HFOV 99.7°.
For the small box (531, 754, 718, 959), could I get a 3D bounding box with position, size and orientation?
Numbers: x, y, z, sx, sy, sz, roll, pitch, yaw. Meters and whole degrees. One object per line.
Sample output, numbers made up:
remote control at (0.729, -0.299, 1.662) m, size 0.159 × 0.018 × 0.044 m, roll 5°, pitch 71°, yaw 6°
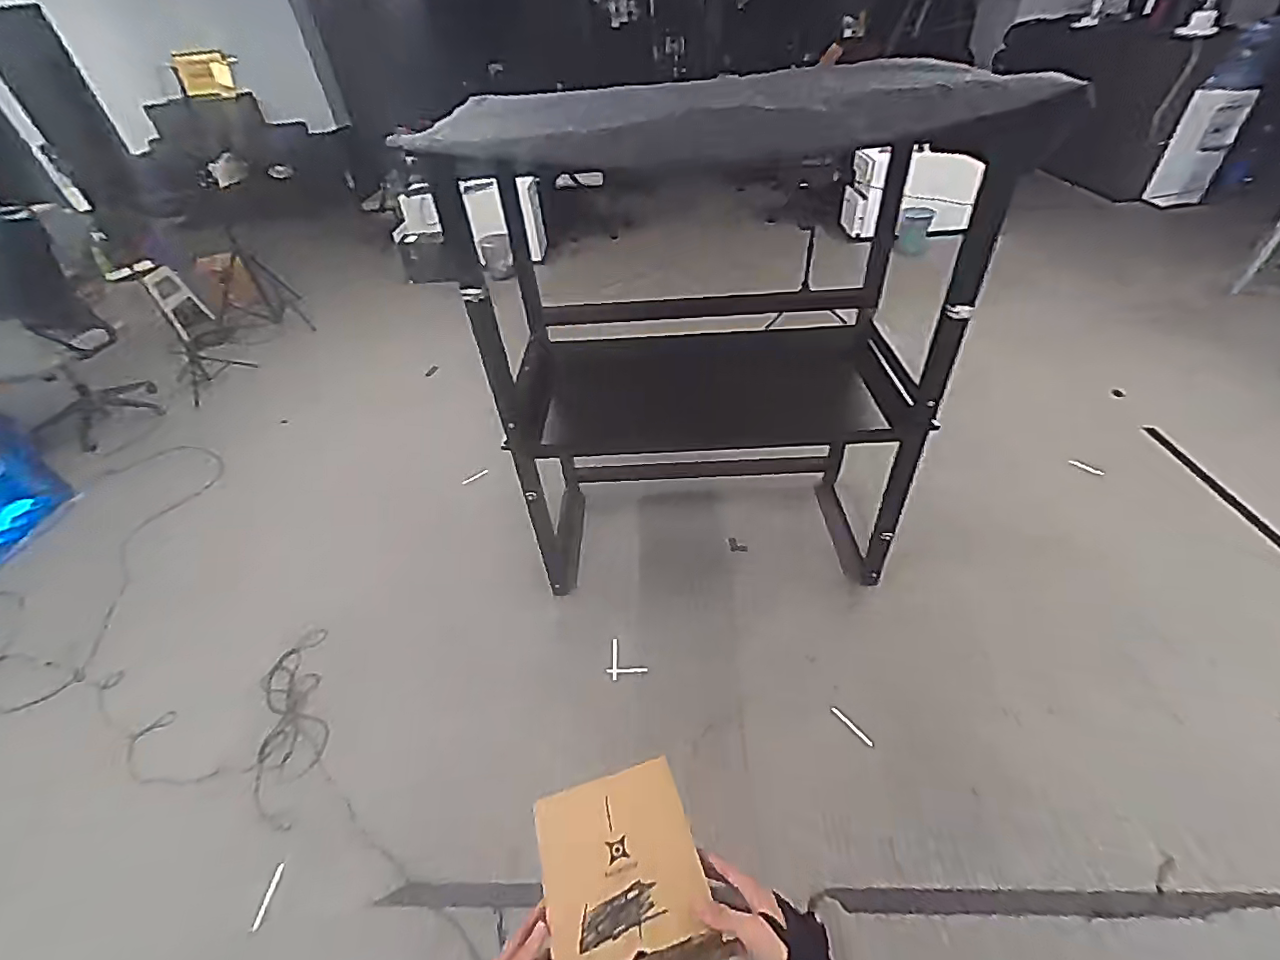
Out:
small box at (-0.016, 0.461, 0.619) m, size 0.168 × 0.176 × 0.179 m, roll -15°, pitch 37°, yaw -10°
